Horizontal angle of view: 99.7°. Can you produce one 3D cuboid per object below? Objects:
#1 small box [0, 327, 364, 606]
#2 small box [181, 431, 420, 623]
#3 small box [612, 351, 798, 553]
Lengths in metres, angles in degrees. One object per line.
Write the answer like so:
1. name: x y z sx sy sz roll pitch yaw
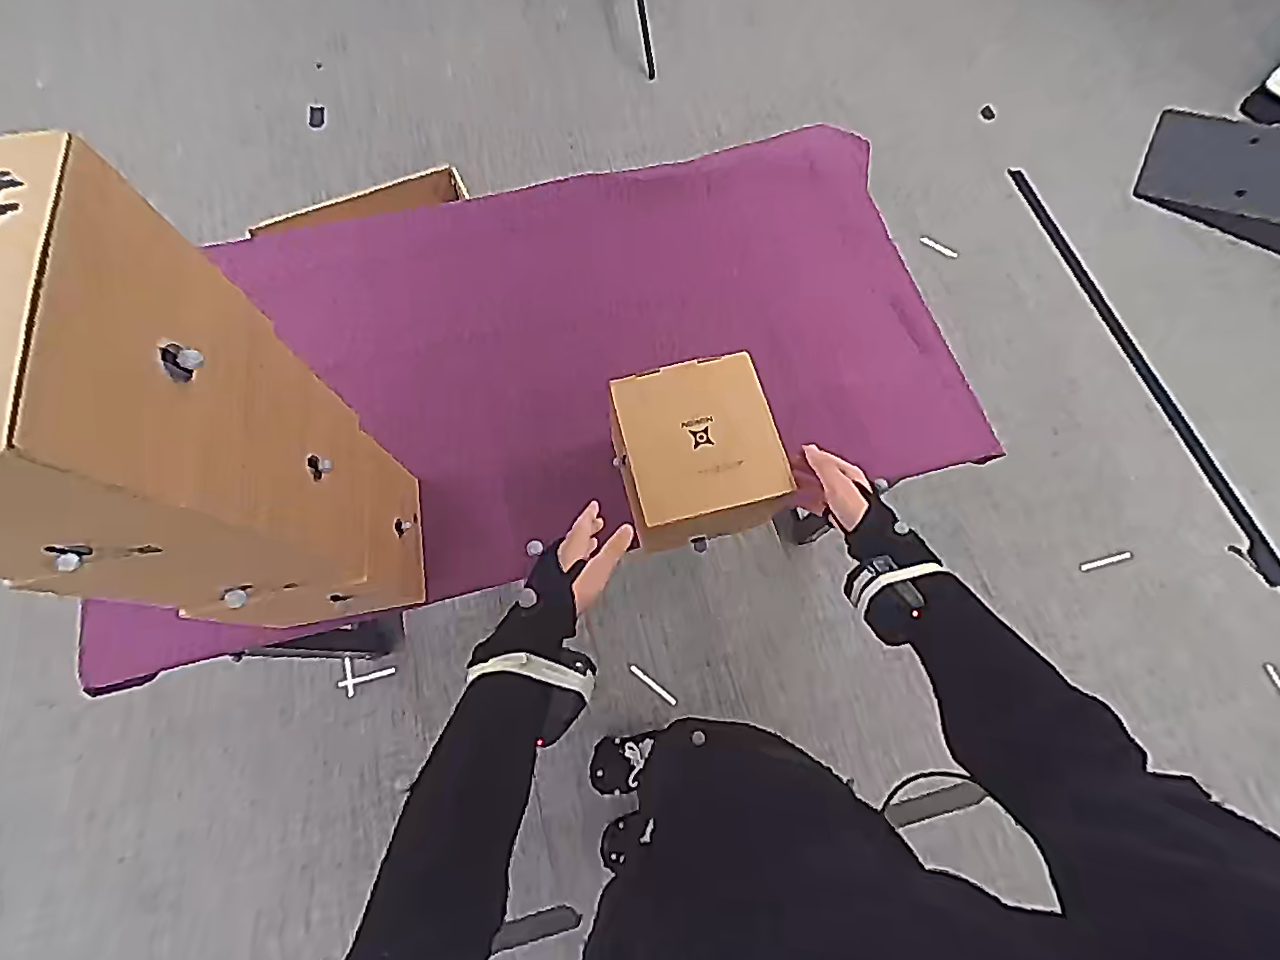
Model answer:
1. small box: -0.356 -0.001 0.461 0.168 0.176 0.179 -10 73 -5
2. small box: -0.362 0.062 0.613 0.179 0.176 0.168 -10 71 -5
3. small box: 0.065 -0.025 0.656 0.168 0.176 0.179 -14 73 -5
